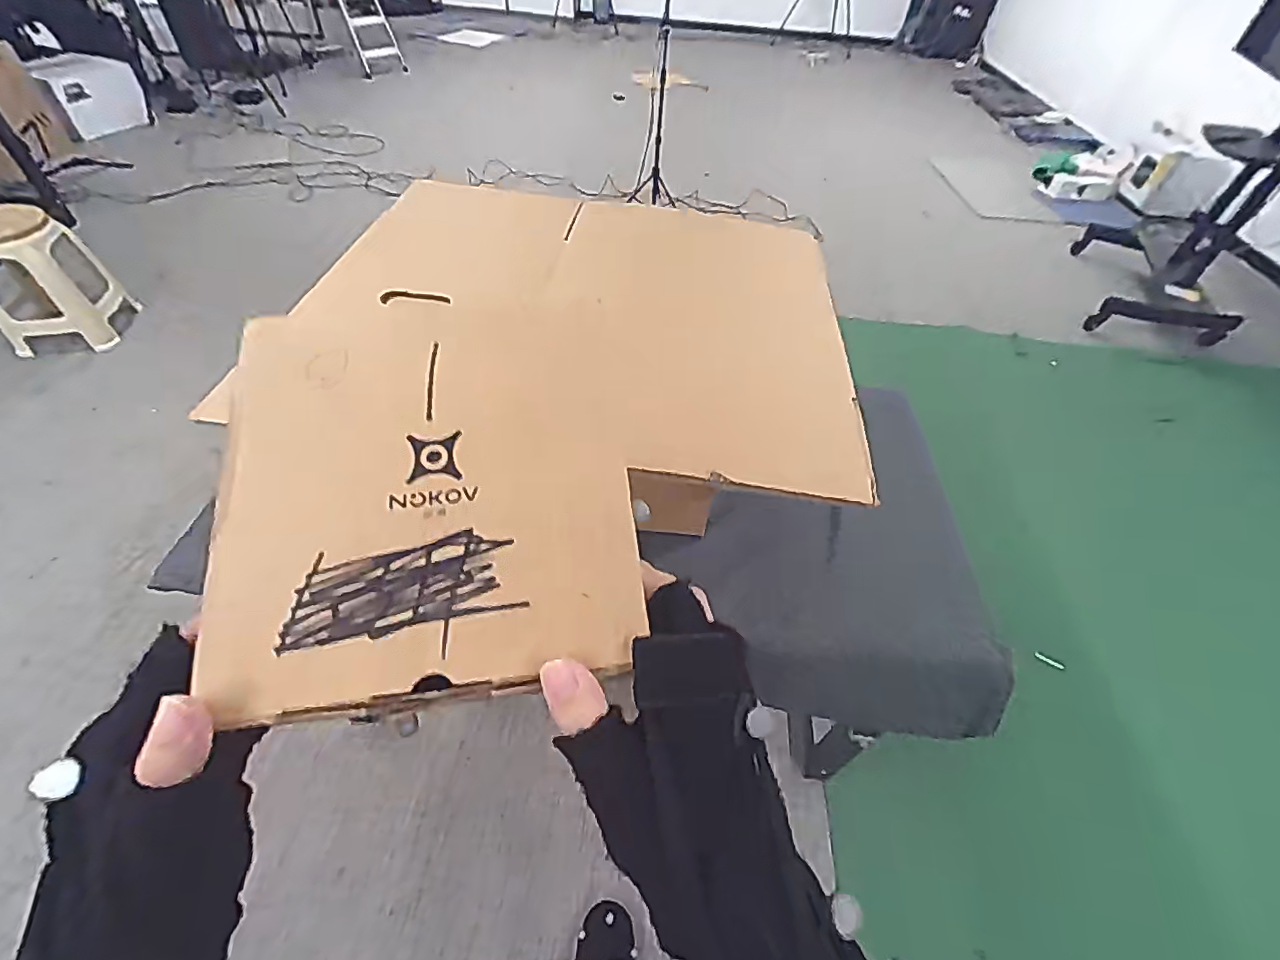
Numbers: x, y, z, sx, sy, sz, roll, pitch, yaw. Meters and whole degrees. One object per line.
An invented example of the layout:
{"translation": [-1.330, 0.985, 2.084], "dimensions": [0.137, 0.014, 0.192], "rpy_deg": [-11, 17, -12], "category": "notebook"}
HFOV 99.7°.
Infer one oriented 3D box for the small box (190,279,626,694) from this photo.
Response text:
{"translation": [-0.099, 0.017, 0.307], "dimensions": [0.168, 0.176, 0.179], "rpy_deg": [-6, 69, -6], "category": "small box"}
